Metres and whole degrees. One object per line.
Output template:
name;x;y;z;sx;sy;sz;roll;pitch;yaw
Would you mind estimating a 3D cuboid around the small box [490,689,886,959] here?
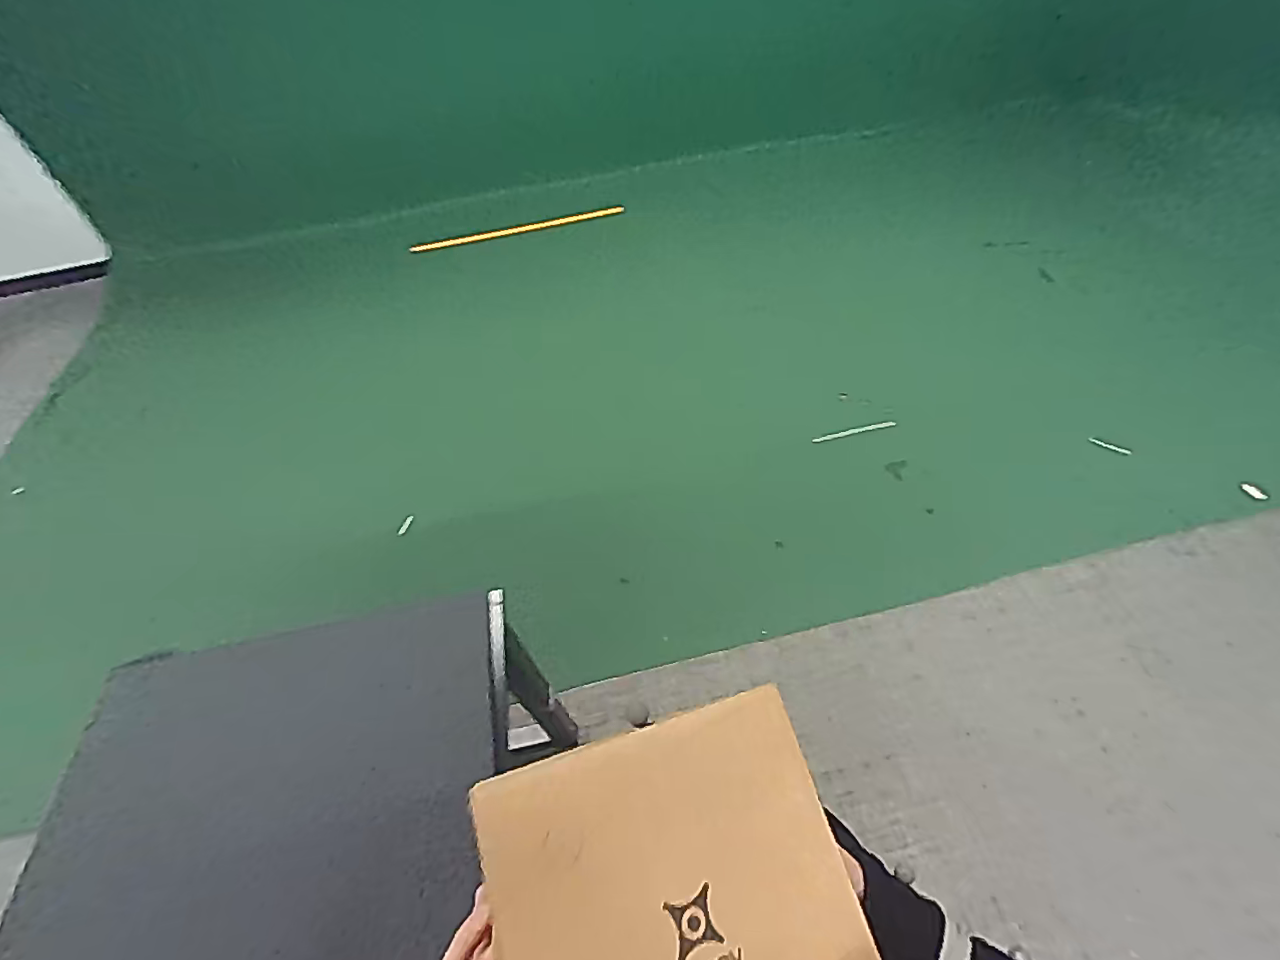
small box;0.009;0.242;0.314;0.168;0.176;0.179;-8;65;-21
